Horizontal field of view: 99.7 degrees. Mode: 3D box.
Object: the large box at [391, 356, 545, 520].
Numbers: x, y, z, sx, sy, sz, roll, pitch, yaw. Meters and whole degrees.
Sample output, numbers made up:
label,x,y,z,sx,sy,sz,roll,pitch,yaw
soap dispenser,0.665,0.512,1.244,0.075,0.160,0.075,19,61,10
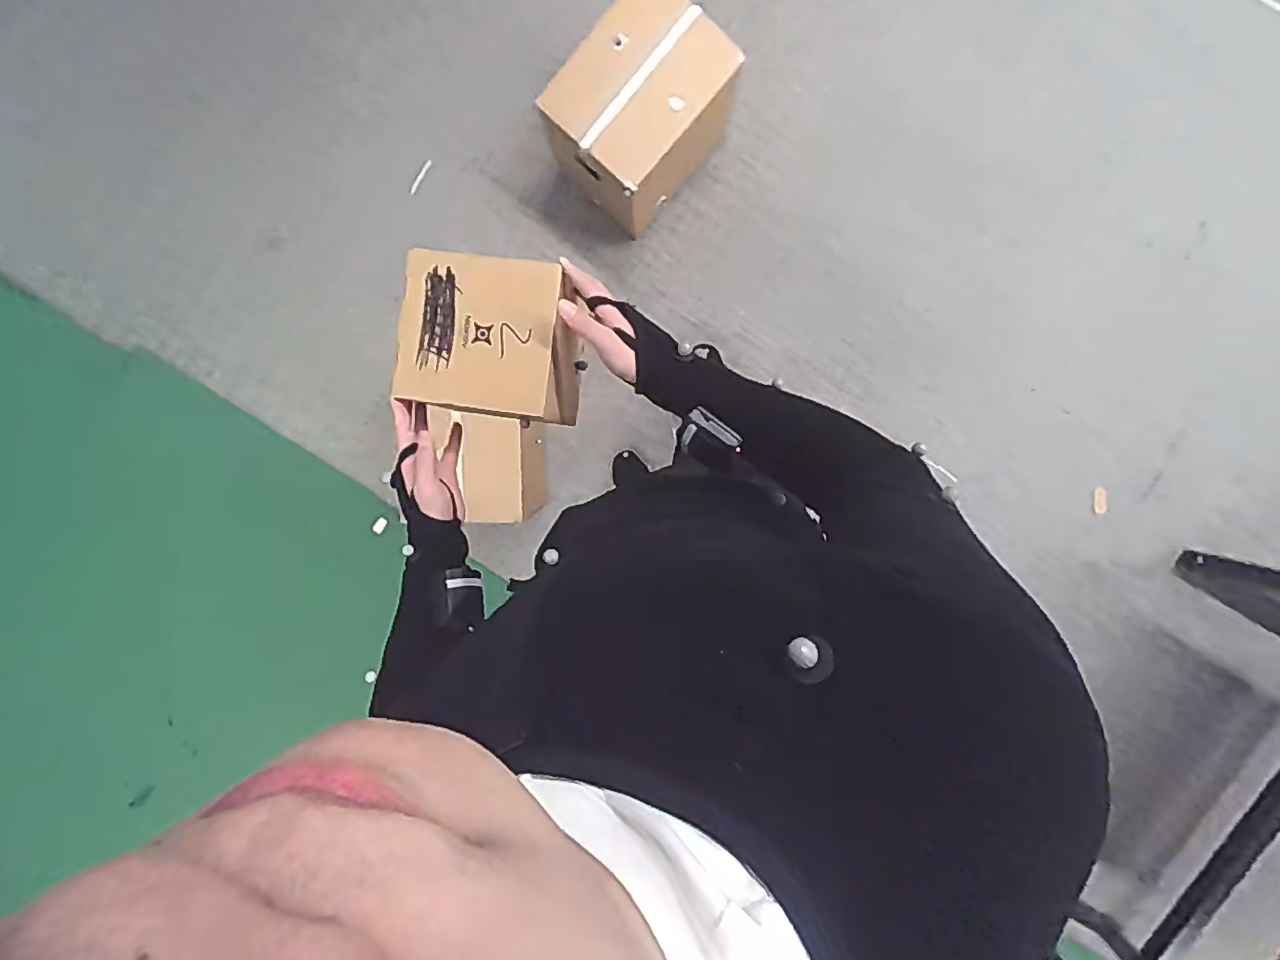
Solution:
label,x,y,z,sx,sy,sz,roll,pitch,yaw
large box,-0.447,-0.118,1.483,0.320,0.320,0.408,-1,97,2
